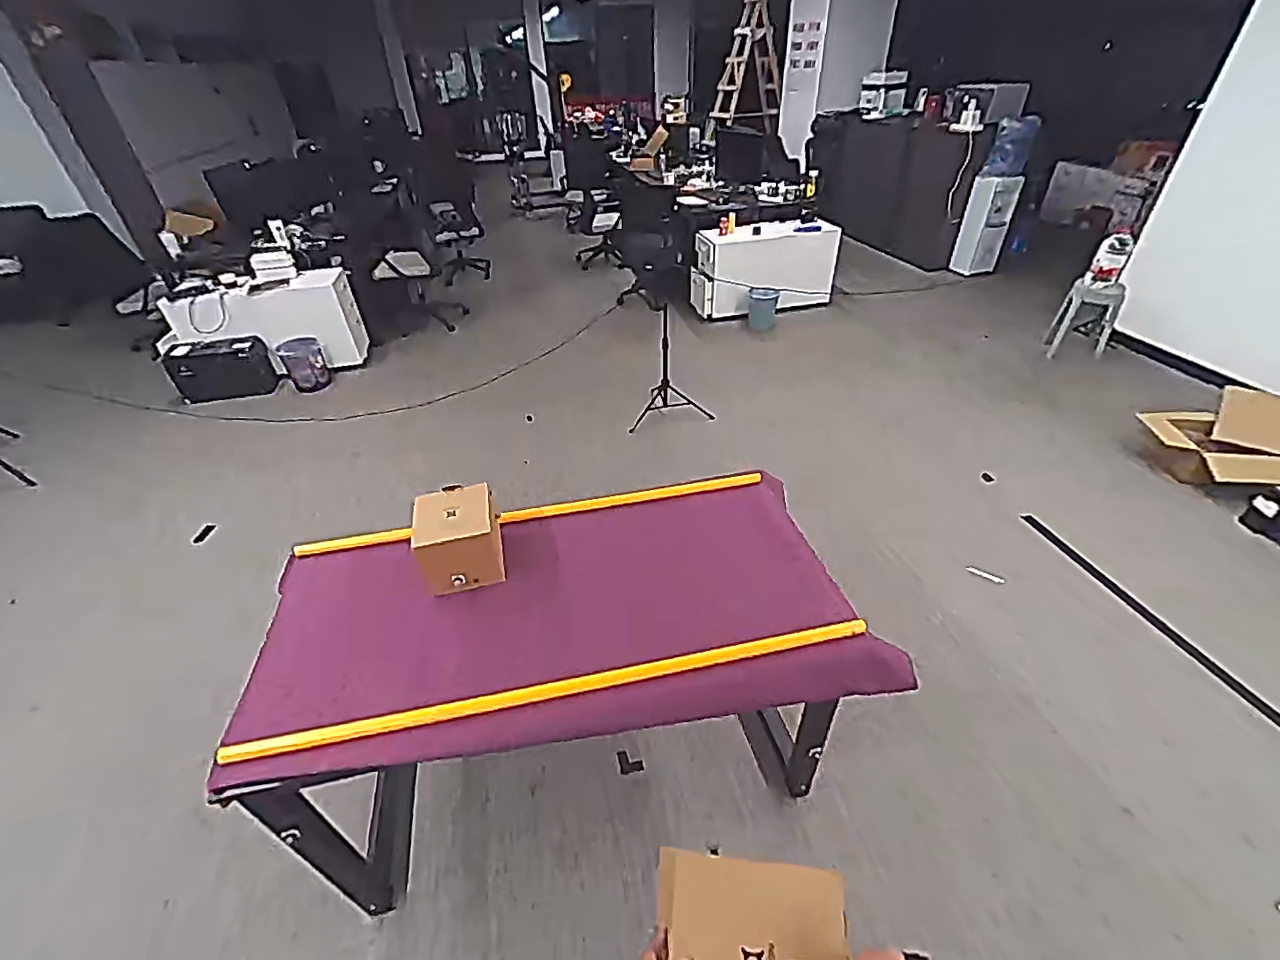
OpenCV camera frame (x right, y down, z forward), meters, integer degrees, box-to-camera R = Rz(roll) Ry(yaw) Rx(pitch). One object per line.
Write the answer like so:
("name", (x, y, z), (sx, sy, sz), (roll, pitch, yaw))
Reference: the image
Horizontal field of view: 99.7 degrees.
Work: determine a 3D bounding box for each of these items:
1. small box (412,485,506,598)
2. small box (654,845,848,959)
("small box", (-0.411, 0.141, 1.243), (0.168, 0.176, 0.179), (-12, 39, -10))
("small box", (0.108, 0.500, 0.578), (0.179, 0.176, 0.168), (7, 57, 0))
